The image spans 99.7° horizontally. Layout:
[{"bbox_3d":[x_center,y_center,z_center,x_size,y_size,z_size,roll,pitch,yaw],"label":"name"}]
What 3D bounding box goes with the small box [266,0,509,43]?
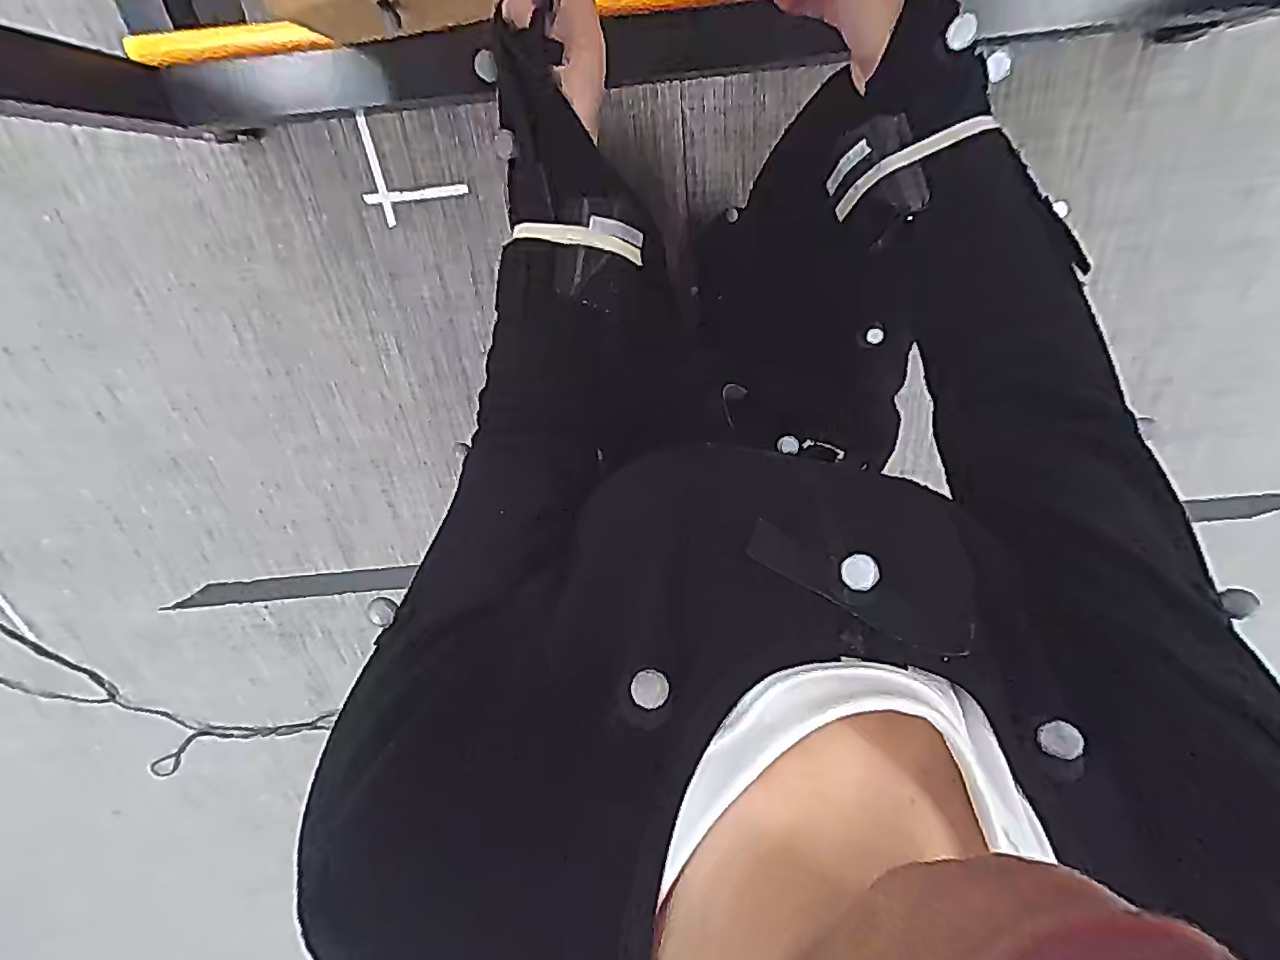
[{"bbox_3d":[-0.207,-0.474,0.423,0.179,0.176,0.168,-10,120,3],"label":"small box"}]
